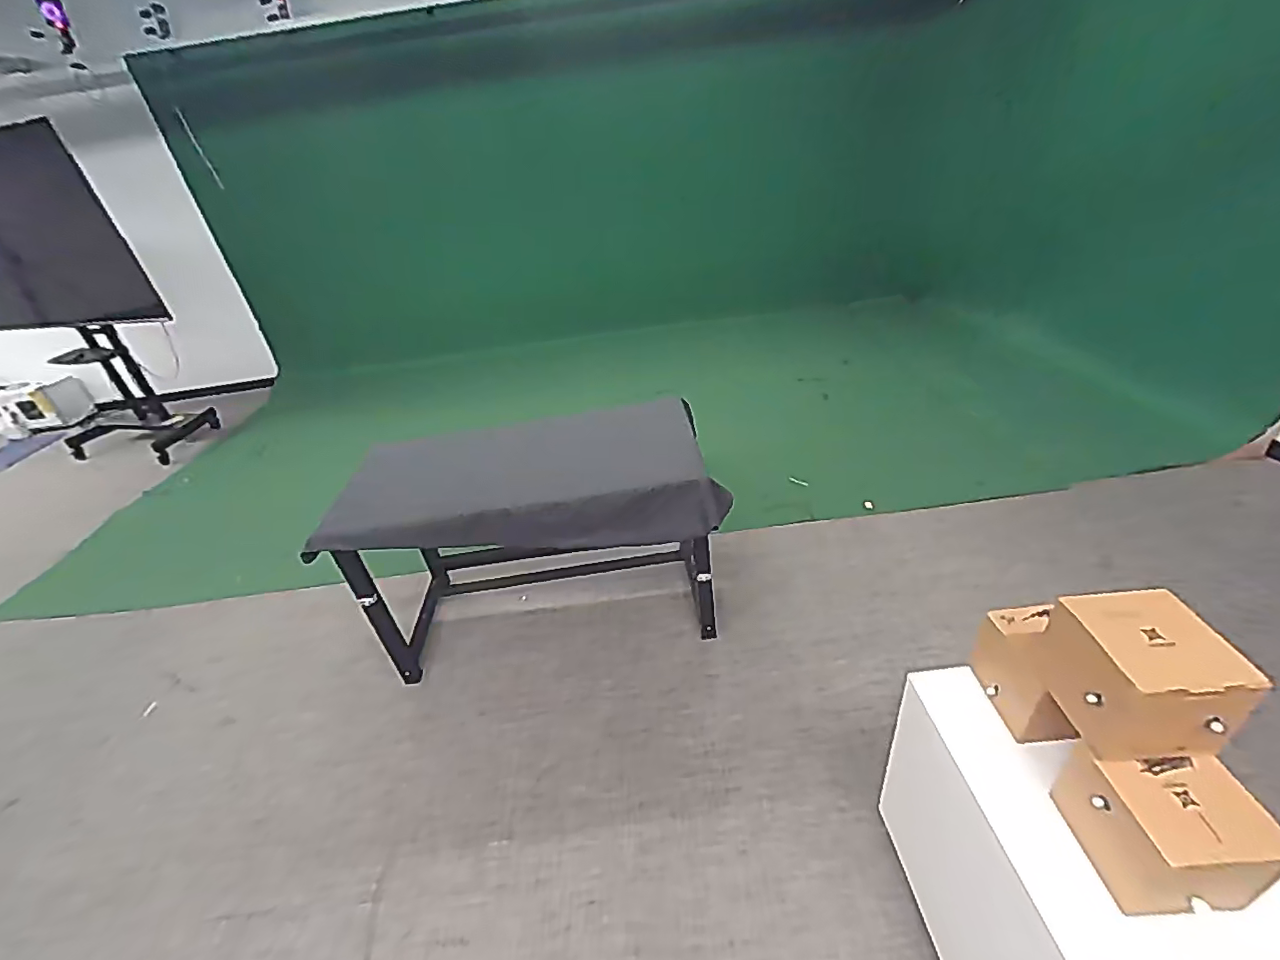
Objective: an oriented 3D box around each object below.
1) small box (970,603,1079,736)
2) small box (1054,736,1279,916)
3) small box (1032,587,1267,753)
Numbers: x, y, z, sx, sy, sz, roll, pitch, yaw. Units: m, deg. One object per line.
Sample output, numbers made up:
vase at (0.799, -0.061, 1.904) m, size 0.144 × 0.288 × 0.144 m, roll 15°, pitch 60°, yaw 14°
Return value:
small box at (0.757, 0.355, 1.009) m, size 0.168 × 0.176 × 0.179 m, roll -7°, pitch 35°, yaw 2°
small box at (0.758, 0.497, 0.791) m, size 0.168 × 0.176 × 0.179 m, roll -7°, pitch 33°, yaw 4°
small box at (0.742, 0.289, 0.815) m, size 0.168 × 0.176 × 0.179 m, roll -6°, pitch 32°, yaw 3°
